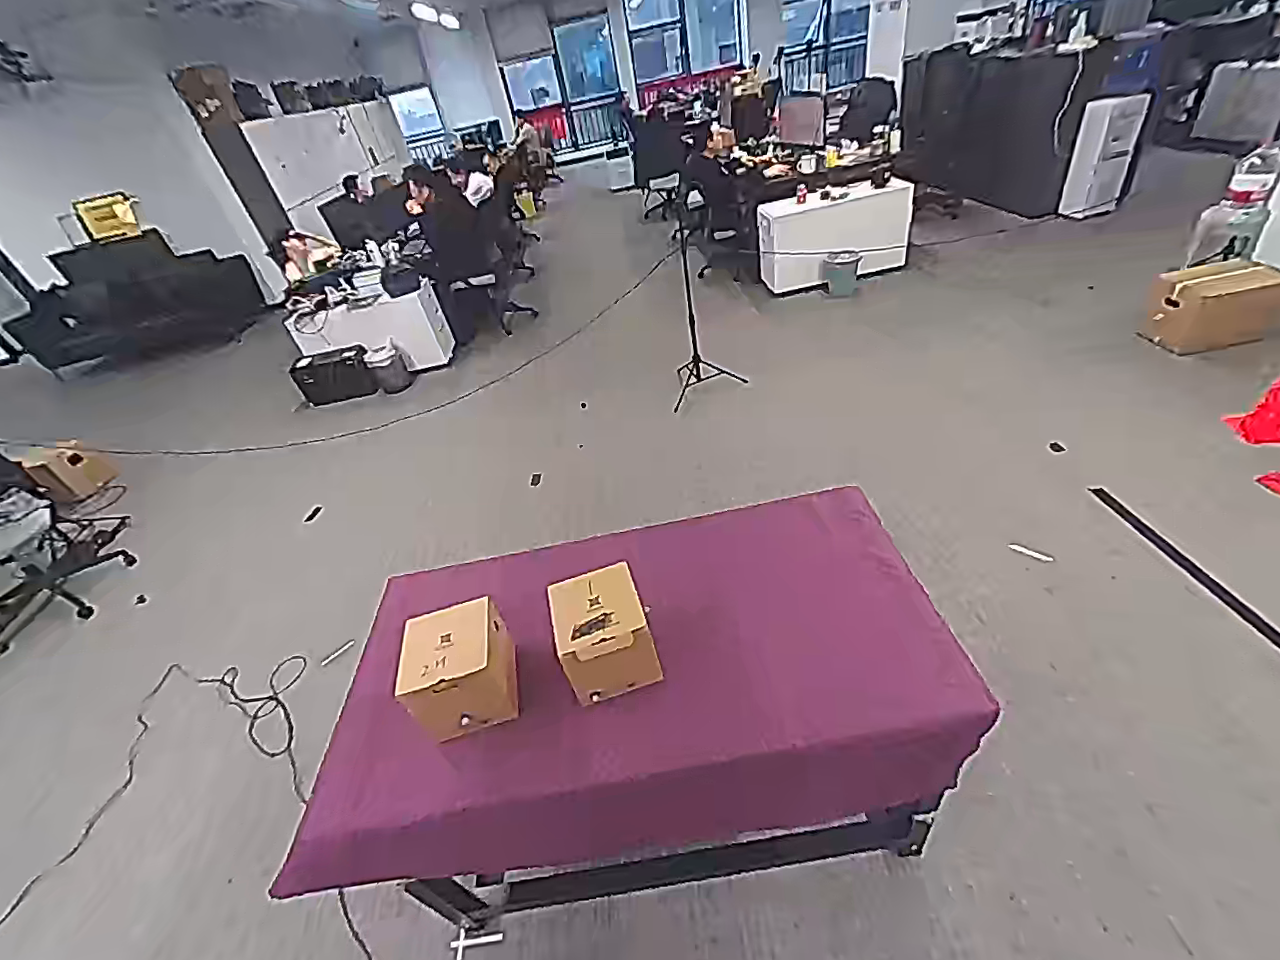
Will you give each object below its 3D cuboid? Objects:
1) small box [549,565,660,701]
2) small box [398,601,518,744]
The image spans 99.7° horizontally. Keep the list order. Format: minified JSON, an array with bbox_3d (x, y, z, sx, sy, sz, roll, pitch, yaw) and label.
[{"bbox_3d":[-0.068,0.304,1.055,0.168,0.176,0.179,-17,36,-5],"label":"small box"},{"bbox_3d":[-0.342,0.372,1.050,0.168,0.176,0.179,-17,37,-4],"label":"small box"}]
